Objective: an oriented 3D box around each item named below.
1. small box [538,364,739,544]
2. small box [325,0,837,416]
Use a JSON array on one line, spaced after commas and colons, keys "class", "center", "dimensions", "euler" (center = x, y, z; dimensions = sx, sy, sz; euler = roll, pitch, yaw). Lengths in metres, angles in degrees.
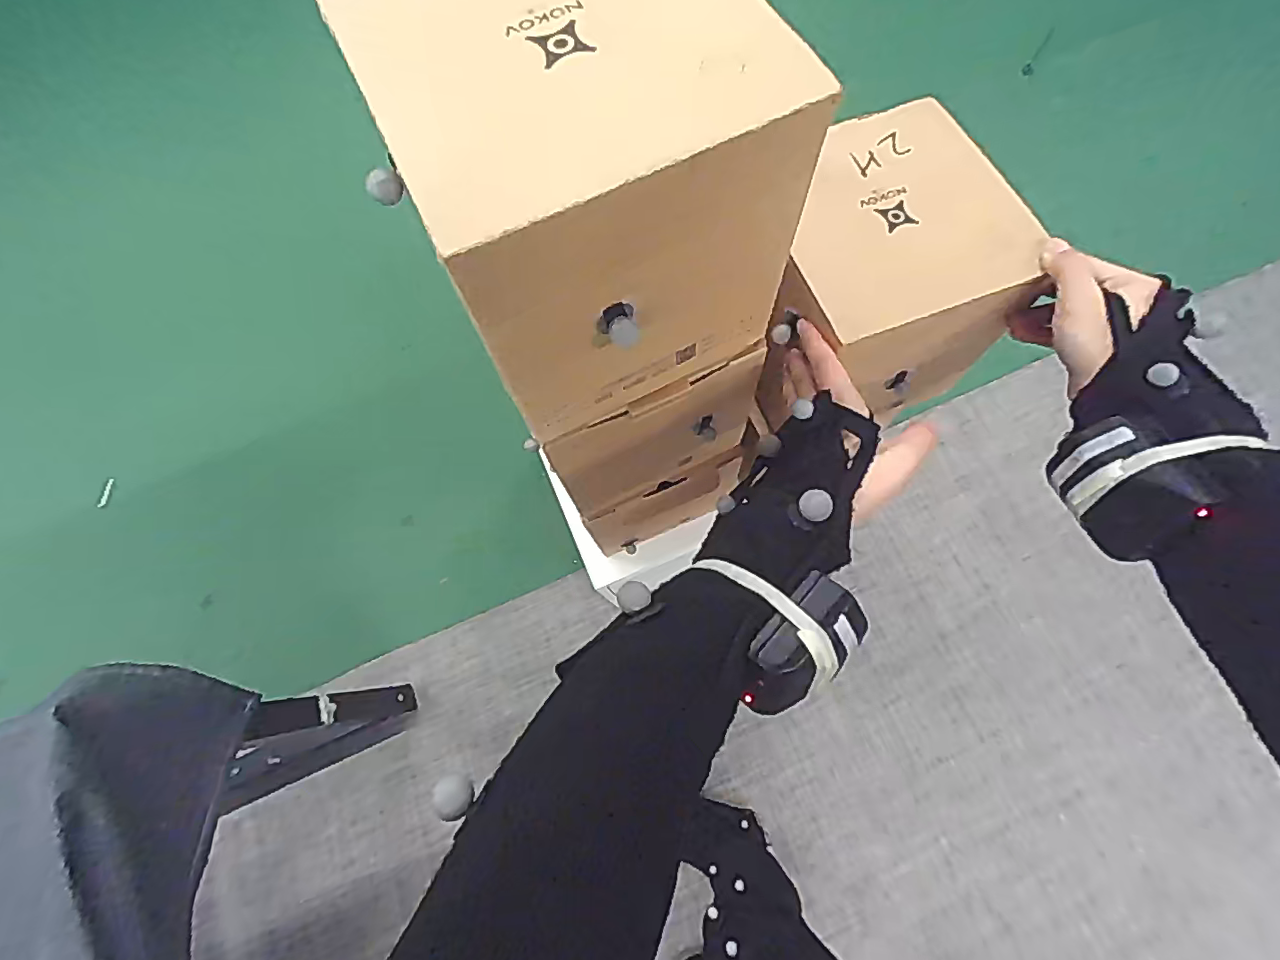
[{"class": "small box", "center": [-0.006, -0.041, 0.601], "dimensions": [0.168, 0.176, 0.179], "euler": [-23, 71, -5]}, {"class": "small box", "center": [-0.028, -0.156, 0.298], "dimensions": [0.168, 0.176, 0.179], "euler": [-26, 71, -7]}]
